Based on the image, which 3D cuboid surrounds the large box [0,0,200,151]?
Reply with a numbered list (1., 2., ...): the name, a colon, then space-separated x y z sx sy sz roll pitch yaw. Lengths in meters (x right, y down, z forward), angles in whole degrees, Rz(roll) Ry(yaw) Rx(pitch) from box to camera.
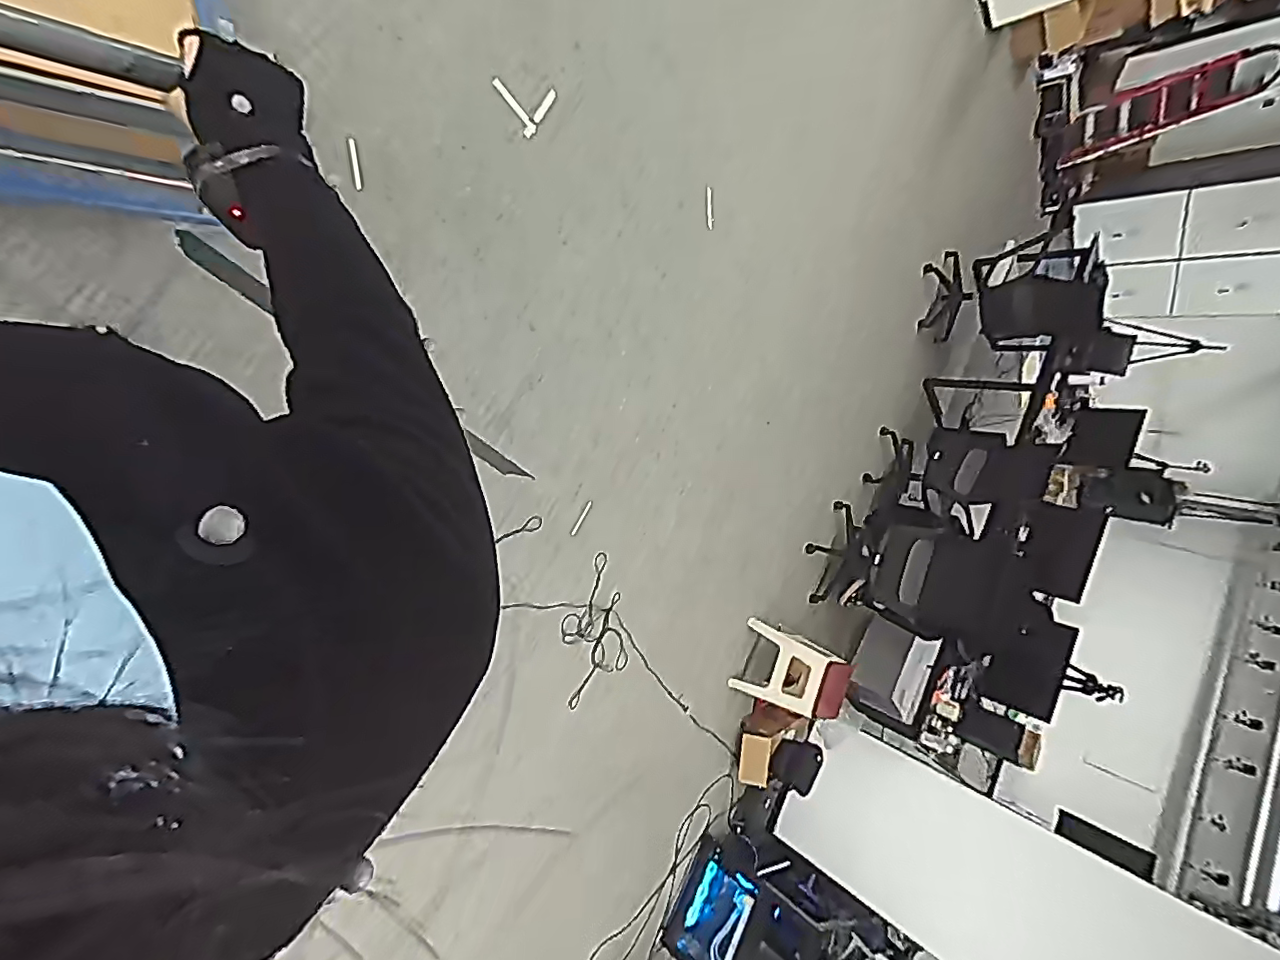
1. large box: -0.855 -0.668 0.680 0.408 0.320 0.320 -12 109 -45
